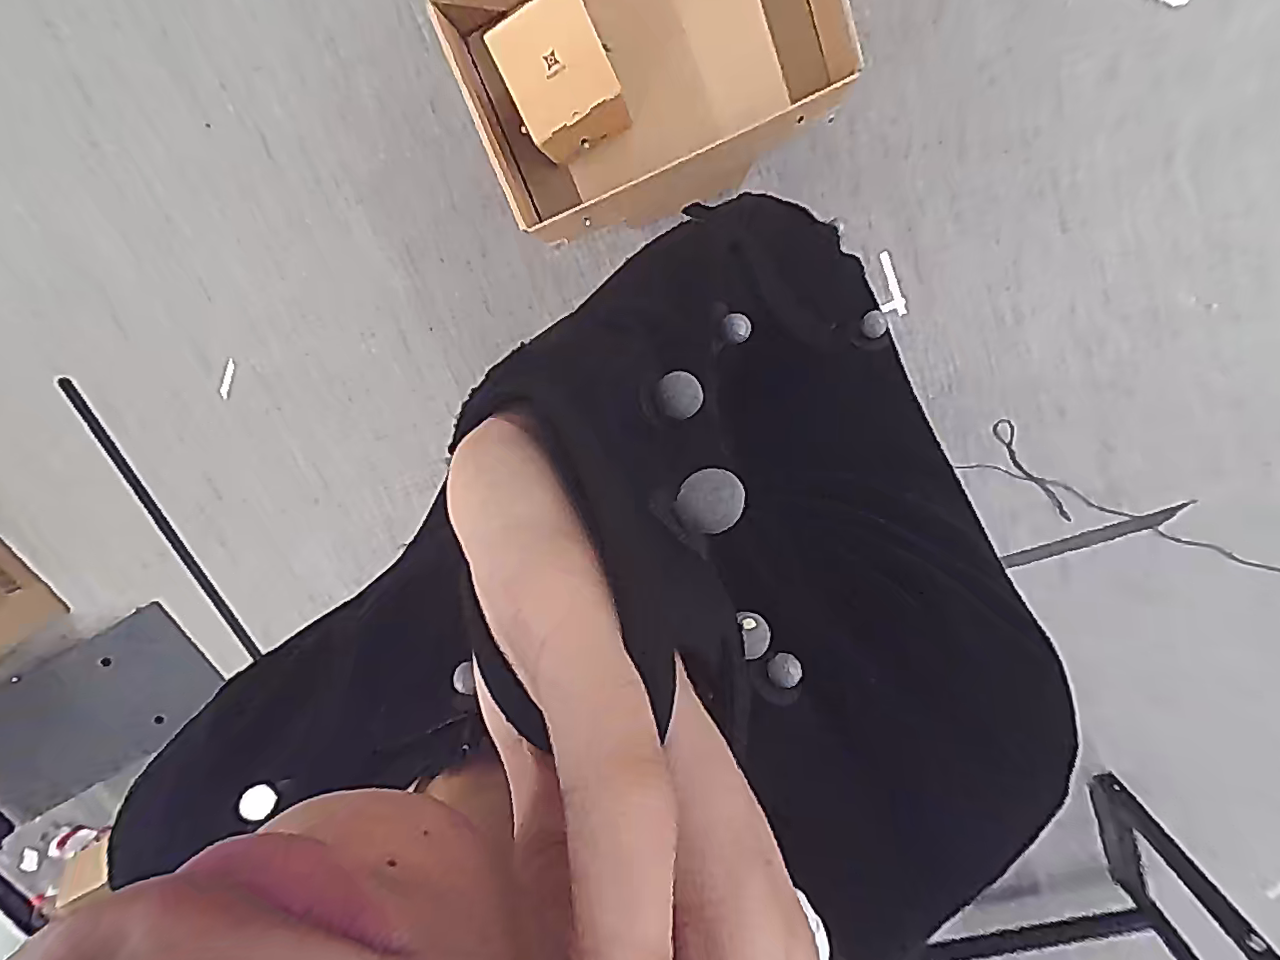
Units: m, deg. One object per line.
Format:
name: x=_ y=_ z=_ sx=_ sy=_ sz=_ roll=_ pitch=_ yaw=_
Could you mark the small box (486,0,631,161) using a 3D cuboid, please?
small box: x=-0.129 y=-0.693 z=0.932 sx=0.168 sy=0.176 sz=0.179 roll=-25 pitch=105 yaw=13
